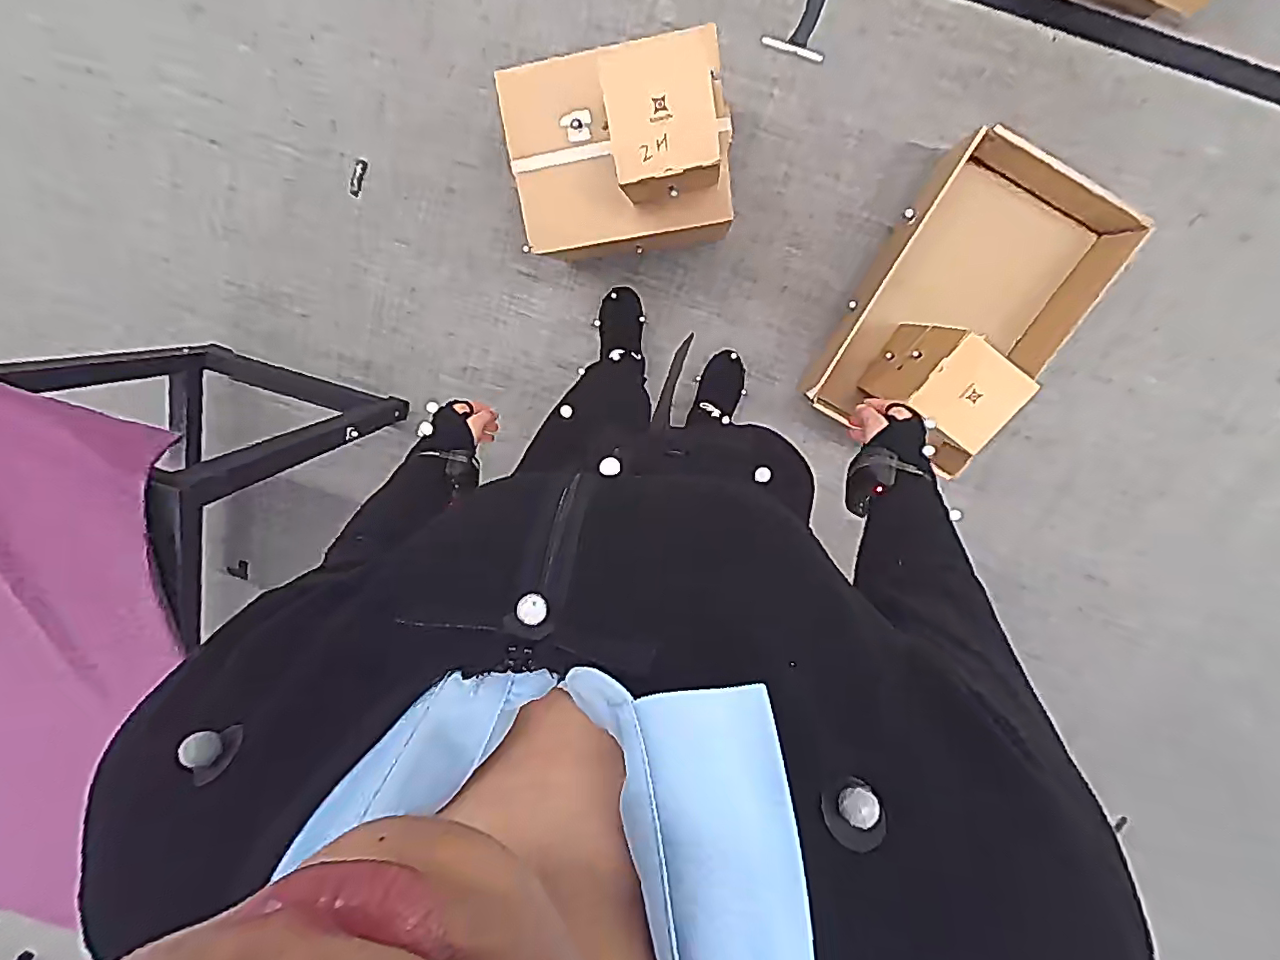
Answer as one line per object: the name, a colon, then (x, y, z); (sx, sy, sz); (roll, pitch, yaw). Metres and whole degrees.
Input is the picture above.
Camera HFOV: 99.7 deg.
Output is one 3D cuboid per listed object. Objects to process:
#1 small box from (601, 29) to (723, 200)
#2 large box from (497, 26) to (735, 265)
small box: (0.042, -0.583, 0.887); (0.168, 0.176, 0.179); (-8, 108, 10)
large box: (-0.024, -0.653, 1.131); (0.408, 0.320, 0.320); (-7, 107, 9)
